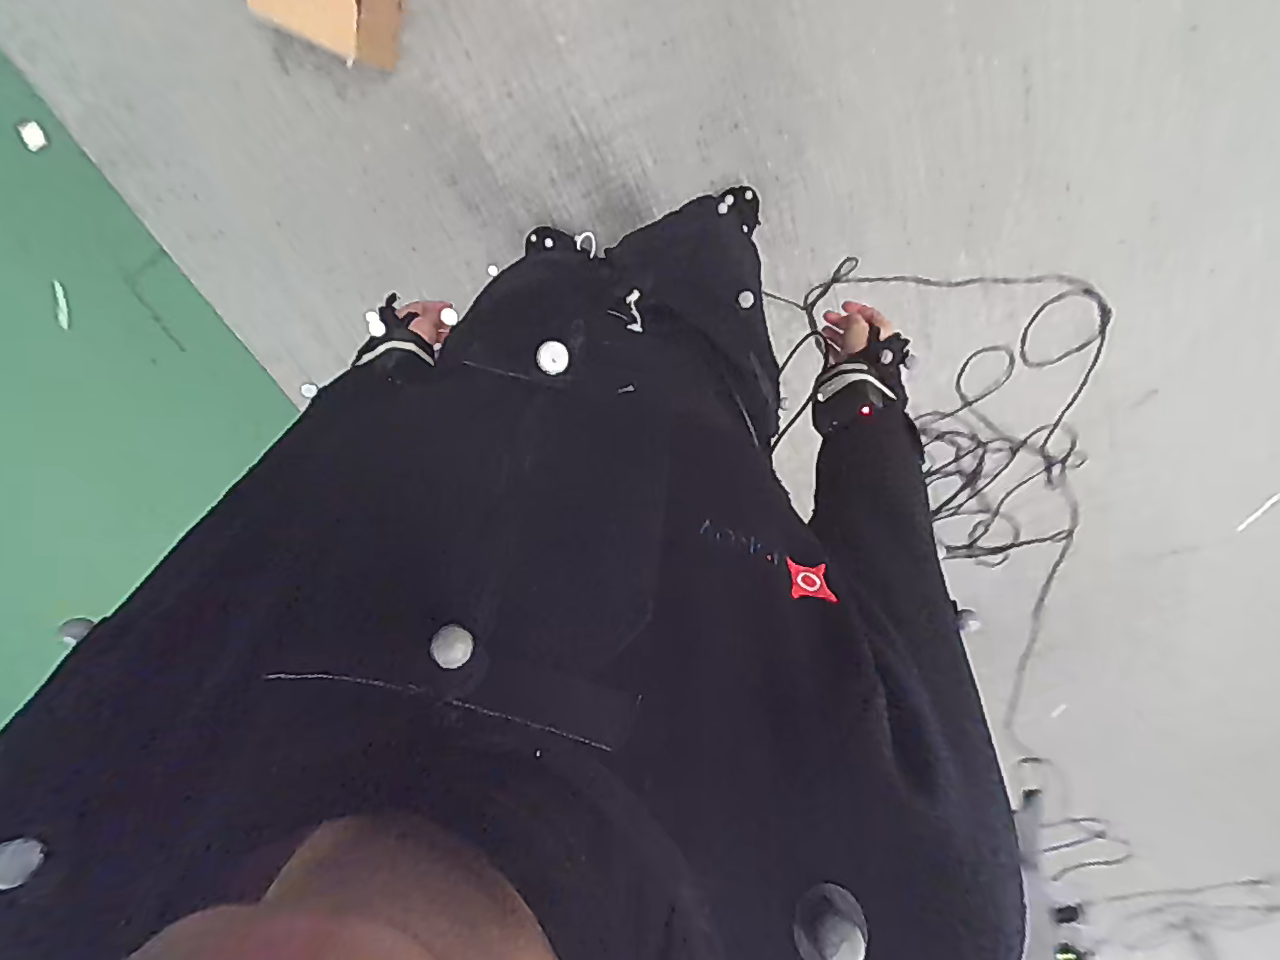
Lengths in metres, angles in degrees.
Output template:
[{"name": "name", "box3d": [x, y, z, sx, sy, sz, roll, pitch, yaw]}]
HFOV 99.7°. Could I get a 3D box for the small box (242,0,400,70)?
[{"name": "small box", "box3d": [-0.523, -0.821, 0.907, 0.179, 0.176, 0.168, 20, 119, -8]}]
